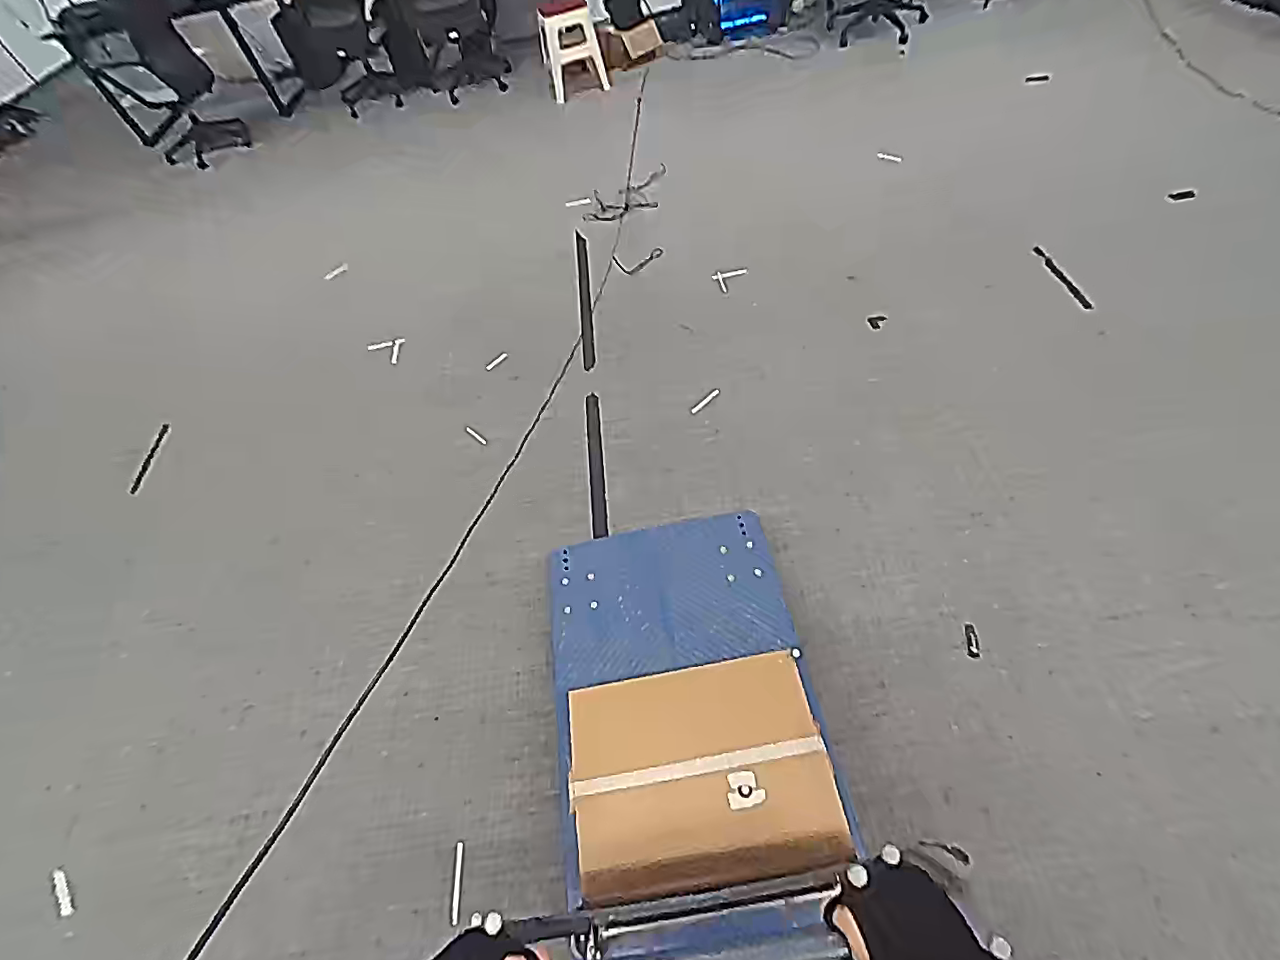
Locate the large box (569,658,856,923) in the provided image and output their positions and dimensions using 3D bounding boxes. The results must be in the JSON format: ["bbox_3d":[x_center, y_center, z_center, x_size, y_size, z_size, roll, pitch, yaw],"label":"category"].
[{"bbox_3d":[0.110,0.559,0.973,0.408,0.320,0.320,-11,53,1],"label":"large box"}]
